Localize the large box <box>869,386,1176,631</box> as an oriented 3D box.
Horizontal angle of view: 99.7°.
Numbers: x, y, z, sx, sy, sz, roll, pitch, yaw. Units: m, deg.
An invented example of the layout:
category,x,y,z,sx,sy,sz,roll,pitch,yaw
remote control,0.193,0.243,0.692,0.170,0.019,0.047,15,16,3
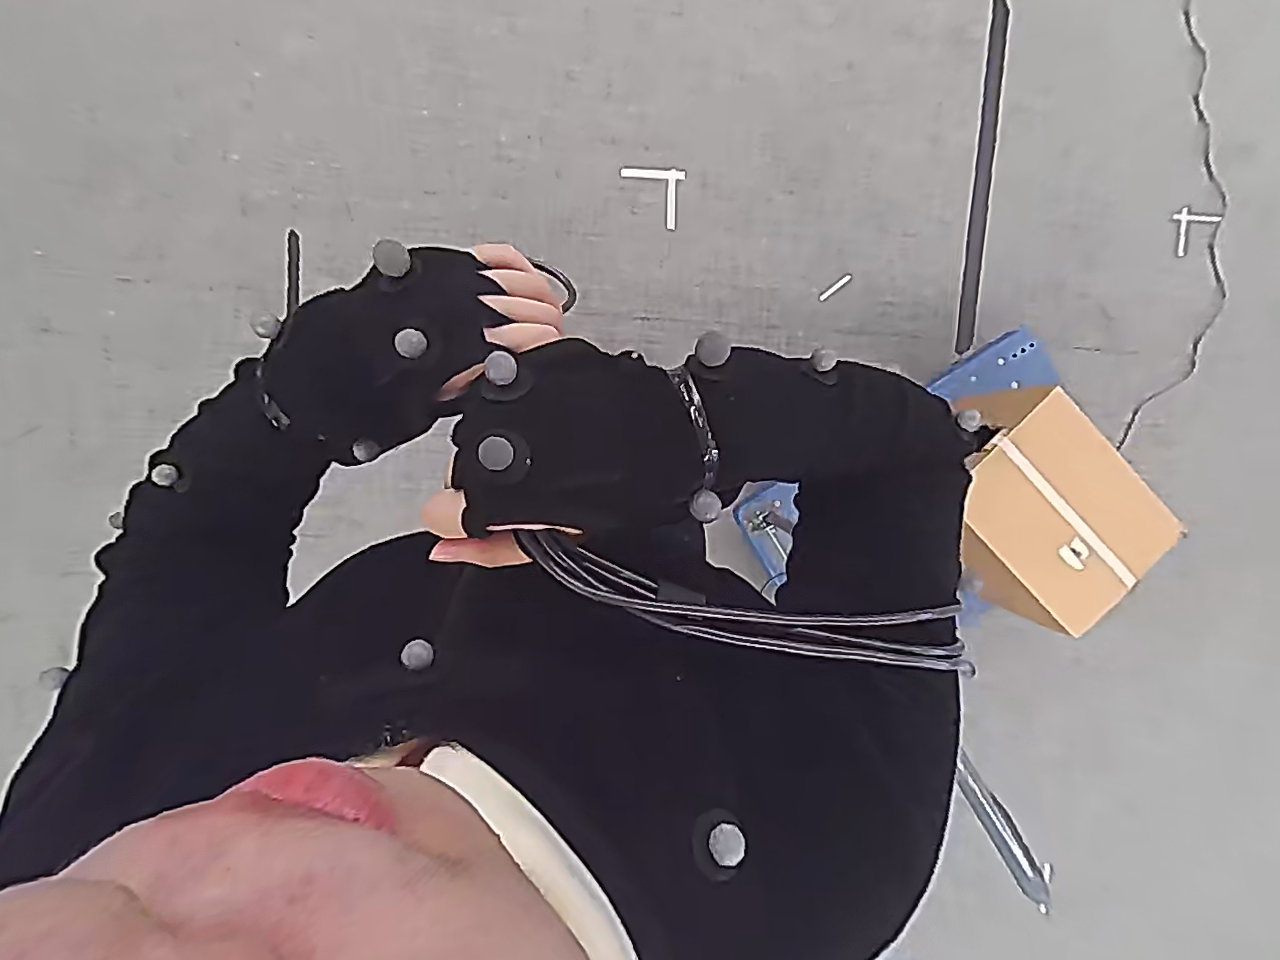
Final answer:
category,x,y,z,sx,sy,sz,roll,pitch,yaw
large box,0.813,0.049,1.207,0.320,0.320,0.408,-44,95,1
